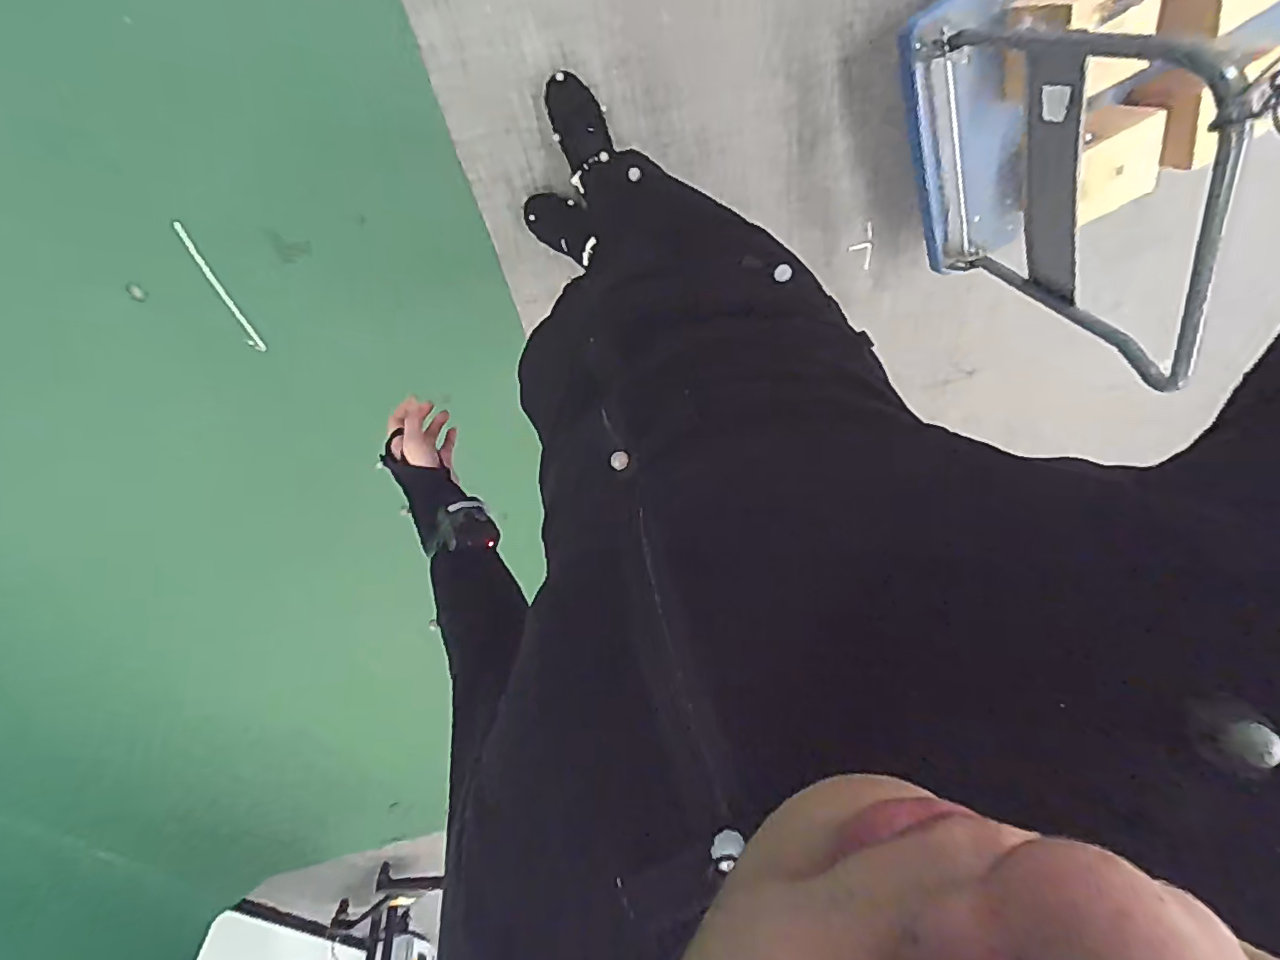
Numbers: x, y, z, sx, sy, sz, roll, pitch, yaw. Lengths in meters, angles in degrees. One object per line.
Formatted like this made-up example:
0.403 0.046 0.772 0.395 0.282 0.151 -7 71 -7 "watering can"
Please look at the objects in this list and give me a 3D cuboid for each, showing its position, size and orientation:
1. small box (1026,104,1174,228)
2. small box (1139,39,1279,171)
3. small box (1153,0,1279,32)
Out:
1.003 -0.698 1.197 0.179 0.176 0.168 -25 129 10 "small box"
1.220 -0.802 1.152 0.179 0.176 0.168 -27 128 13 "small box"
1.104 -0.966 0.994 0.179 0.176 0.168 -30 129 13 "small box"
